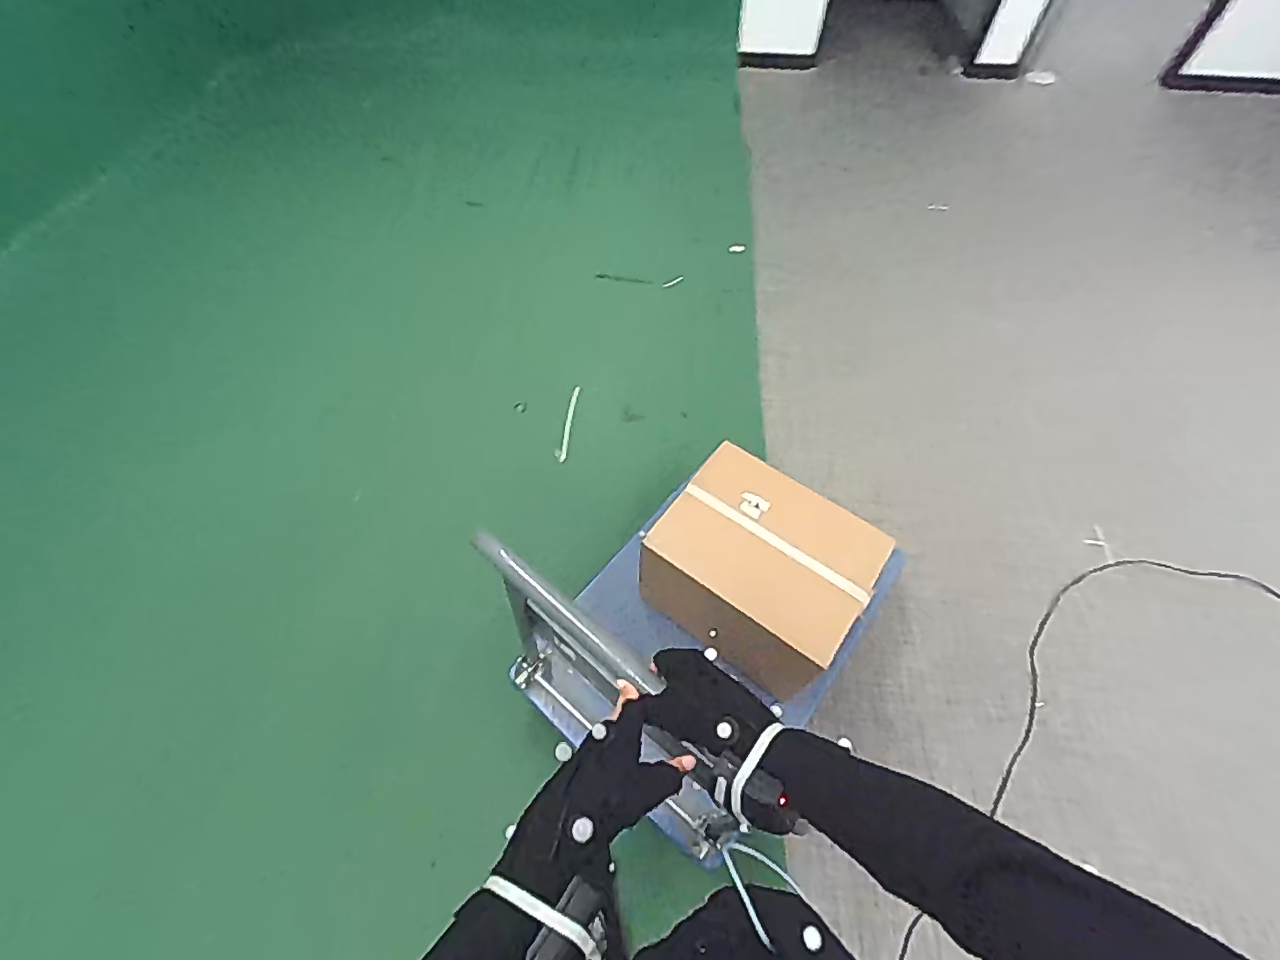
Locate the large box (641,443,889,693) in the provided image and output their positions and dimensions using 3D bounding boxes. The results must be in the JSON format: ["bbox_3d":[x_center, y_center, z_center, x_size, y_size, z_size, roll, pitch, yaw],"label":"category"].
[{"bbox_3d":[0.250,0.198,1.193,0.408,0.320,0.320,32,62,19],"label":"large box"}]
